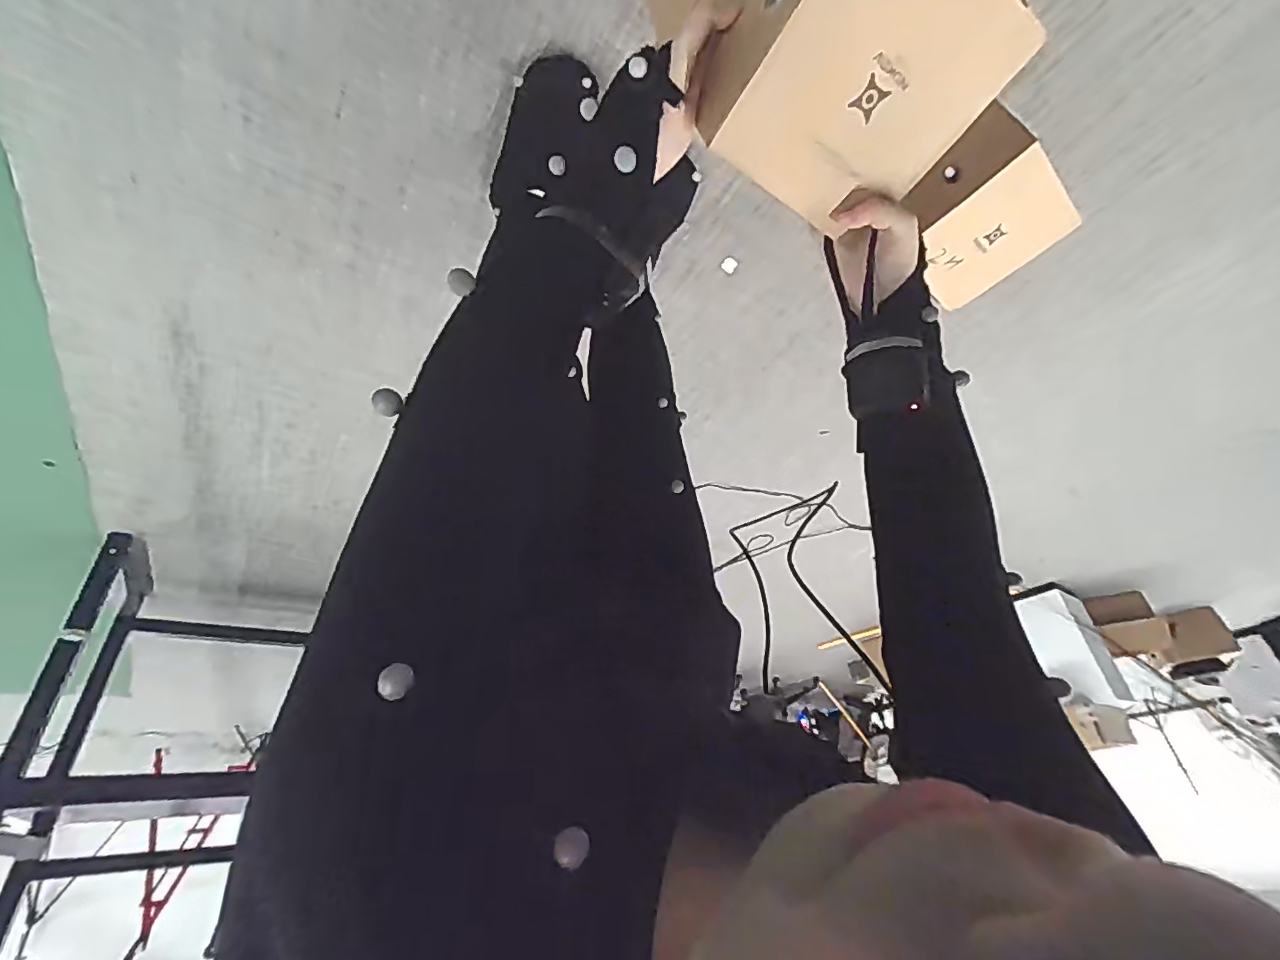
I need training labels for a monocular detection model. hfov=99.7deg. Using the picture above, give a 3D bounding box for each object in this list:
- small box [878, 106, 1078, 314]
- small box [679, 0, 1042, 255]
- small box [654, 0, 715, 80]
[{"bbox_3d":[0.433,-0.372,0.734,0.168,0.176,0.179,20,138,-34],"label":"small box"},{"bbox_3d":[0.150,-0.326,0.427,0.168,0.176,0.179,16,135,-29],"label":"small box"},{"bbox_3d":[0.125,-0.473,0.522,0.168,0.176,0.179,15,142,-30],"label":"small box"}]
